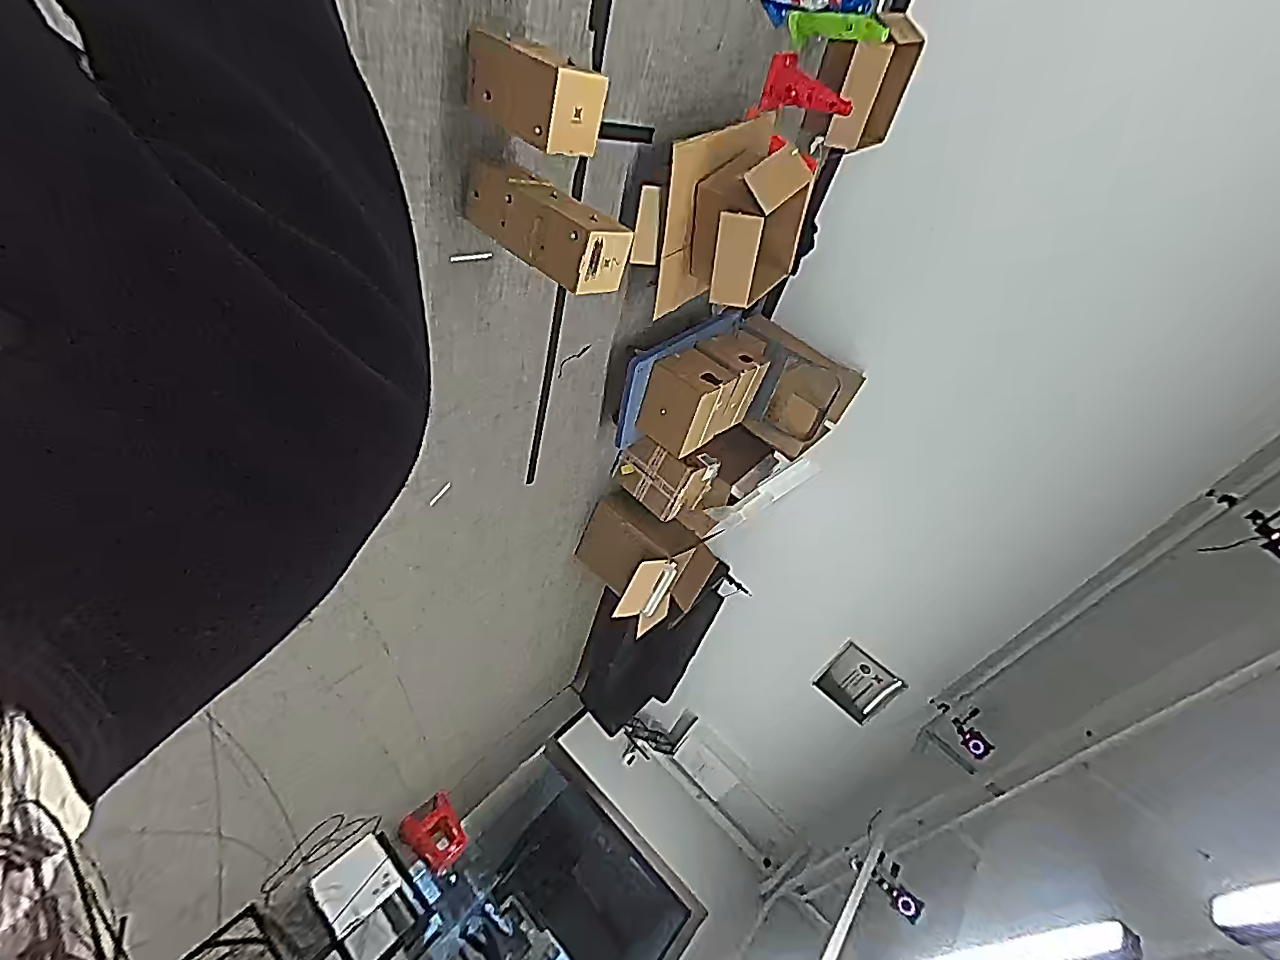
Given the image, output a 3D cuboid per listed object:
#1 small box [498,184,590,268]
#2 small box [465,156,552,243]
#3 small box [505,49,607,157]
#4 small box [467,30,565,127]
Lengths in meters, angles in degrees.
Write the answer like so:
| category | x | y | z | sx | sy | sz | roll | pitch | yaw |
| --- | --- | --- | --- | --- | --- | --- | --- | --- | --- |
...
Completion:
| category | x | y | z | sx | sy | sz | roll | pitch | yaw |
| --- | --- | --- | --- | --- | --- | --- | --- | --- | --- |
| small box | -0.273 | -0.711 | 1.515 | 0.179 | 0.176 | 0.168 | -29 | 150 | -45 |
| small box | -0.388 | -0.812 | 1.577 | 0.168 | 0.176 | 0.179 | -26 | 149 | -46 |
| small box | -0.210 | -0.917 | 1.319 | 0.168 | 0.176 | 0.179 | -30 | 152 | -42 |
| small box | -0.321 | -1.018 | 1.381 | 0.179 | 0.176 | 0.168 | -32 | 153 | -42 |
